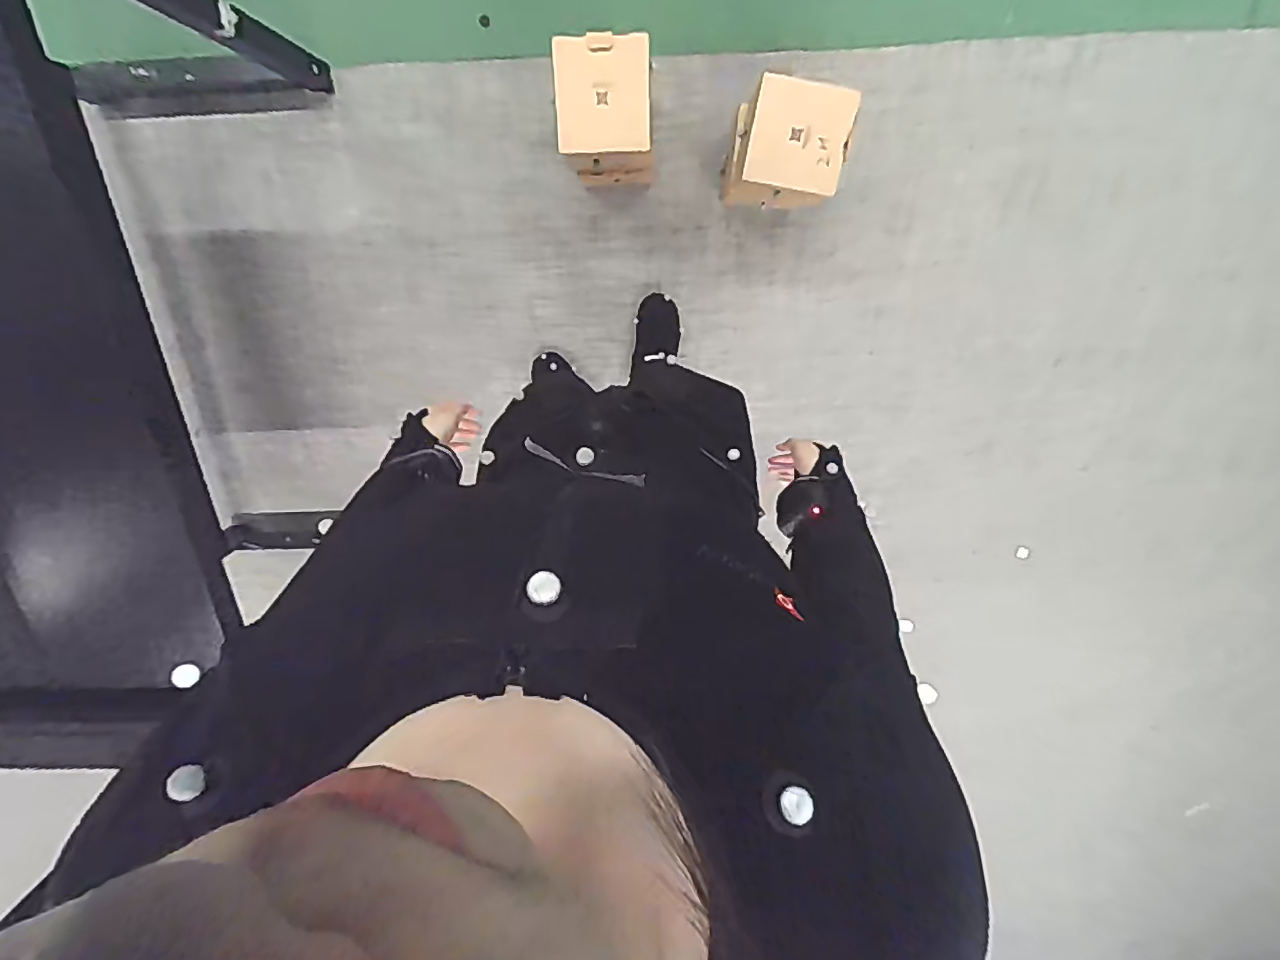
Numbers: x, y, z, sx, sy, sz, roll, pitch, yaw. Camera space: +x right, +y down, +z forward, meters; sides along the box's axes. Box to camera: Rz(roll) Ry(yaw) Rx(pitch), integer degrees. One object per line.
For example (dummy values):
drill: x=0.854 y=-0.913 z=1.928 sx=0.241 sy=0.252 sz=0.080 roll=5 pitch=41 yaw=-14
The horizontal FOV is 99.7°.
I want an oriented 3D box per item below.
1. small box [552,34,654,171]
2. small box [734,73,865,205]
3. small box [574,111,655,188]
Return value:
small box: x=-0.060 y=-0.683 z=1.001 sx=0.168 sy=0.176 sz=0.179 roll=-1 pitch=110 yaw=3
small box: x=0.283 y=-0.622 z=1.009 sx=0.179 sy=0.176 sz=0.168 roll=10 pitch=112 yaw=-2
small box: x=-0.053 y=-0.733 z=1.156 sx=0.168 sy=0.176 sz=0.179 roll=-2 pitch=110 yaw=3
